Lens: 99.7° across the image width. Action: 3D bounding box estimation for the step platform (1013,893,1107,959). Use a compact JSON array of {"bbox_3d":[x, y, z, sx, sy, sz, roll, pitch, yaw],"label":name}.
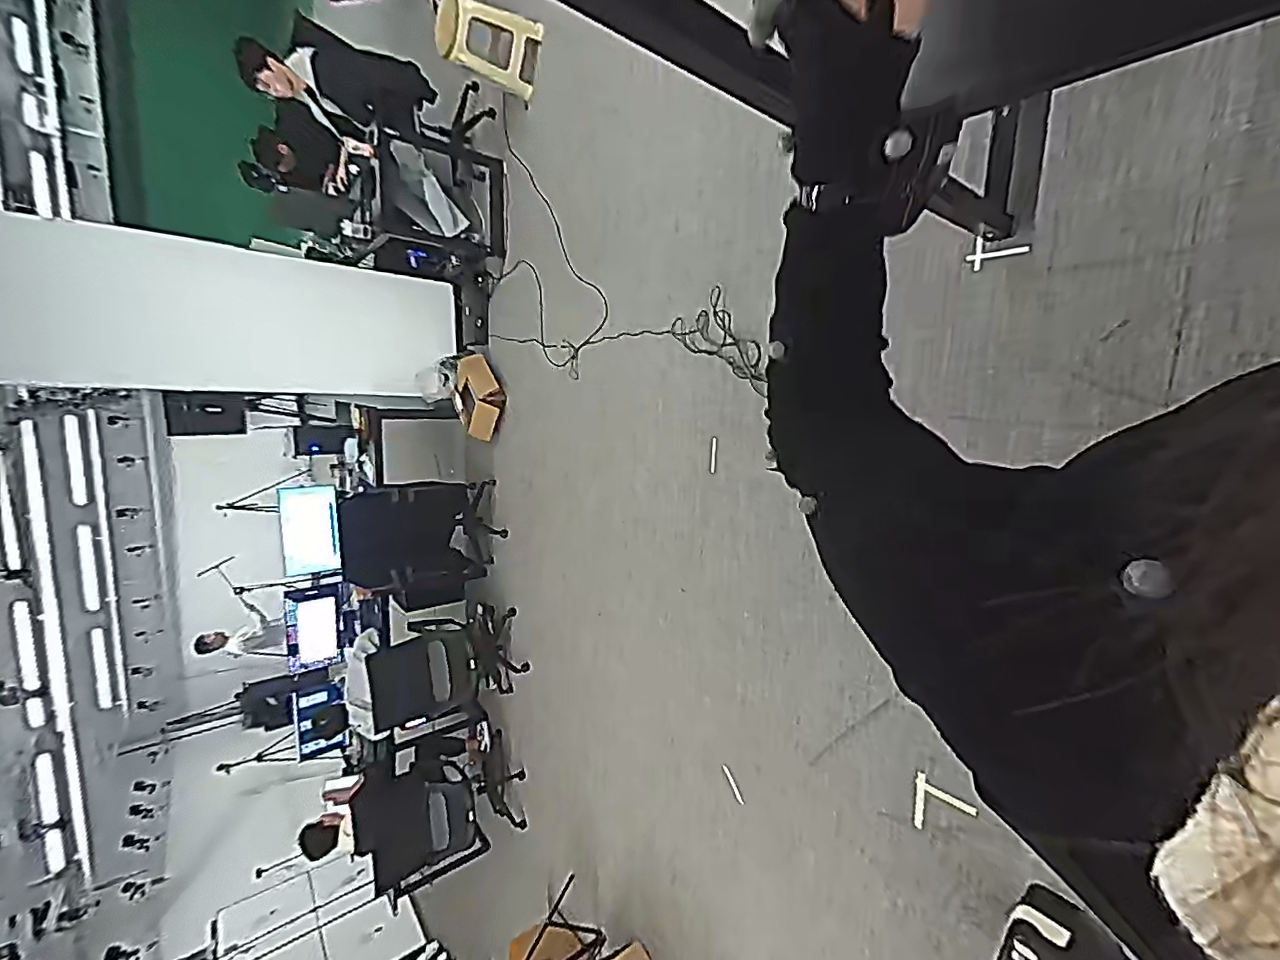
[{"bbox_3d":[1.113,1.209,1.040,0.684,0.204,0.286,22,110,48],"label":"step platform"}]
